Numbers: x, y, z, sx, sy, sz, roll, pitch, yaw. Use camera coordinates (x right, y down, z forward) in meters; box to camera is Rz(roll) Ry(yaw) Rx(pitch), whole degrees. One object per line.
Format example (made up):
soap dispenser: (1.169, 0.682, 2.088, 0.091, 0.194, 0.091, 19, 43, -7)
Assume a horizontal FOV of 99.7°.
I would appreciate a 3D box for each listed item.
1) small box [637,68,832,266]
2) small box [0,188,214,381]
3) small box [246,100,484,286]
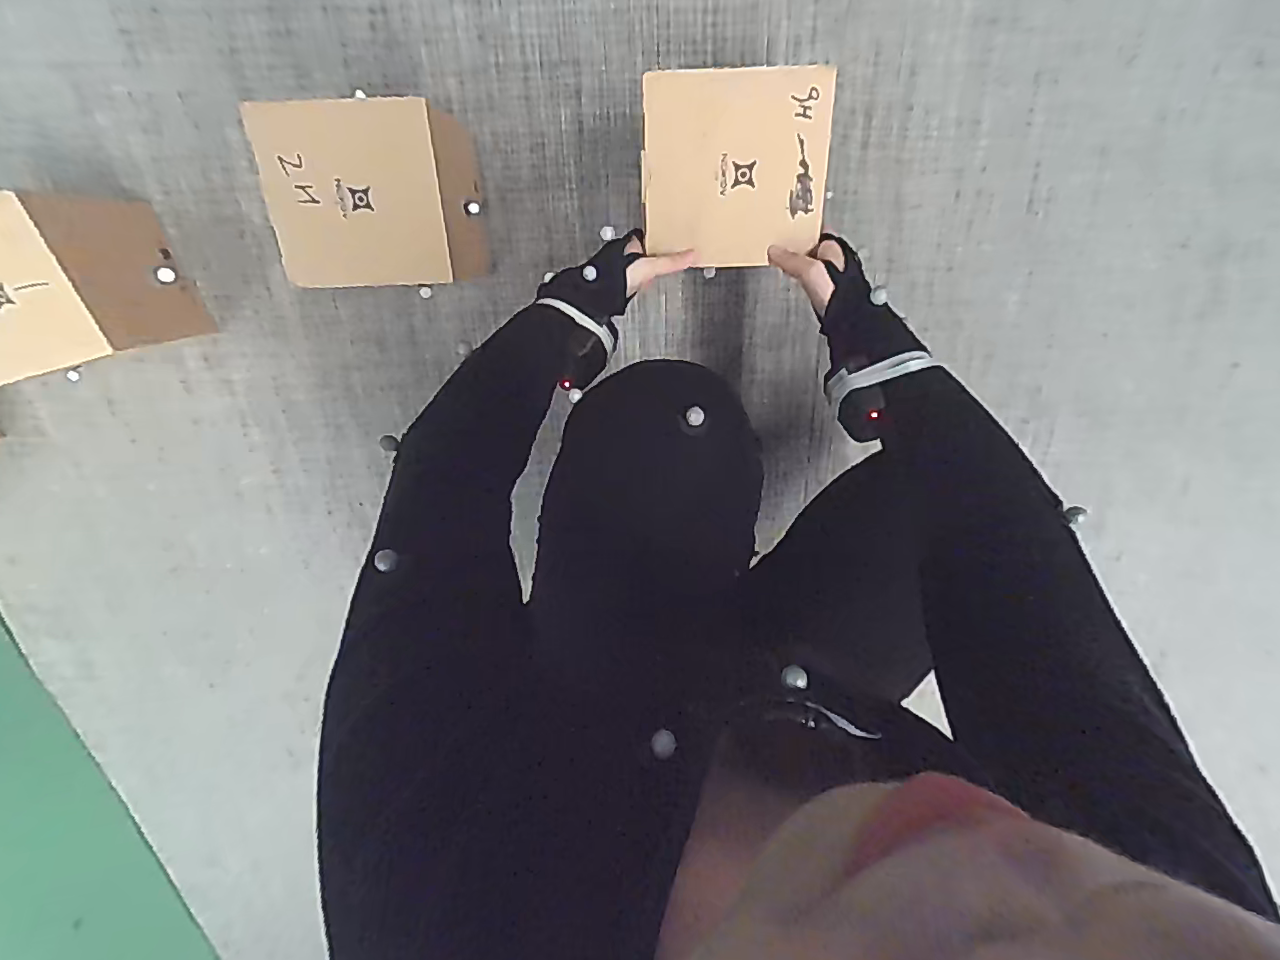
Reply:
small box: (0.089, -0.323, 0.589, 0.179, 0.176, 0.168, 0, 113, 2)
small box: (-0.671, -0.223, 0.637, 0.179, 0.176, 0.168, -14, 112, 4)
small box: (-0.283, -0.311, 0.610, 0.179, 0.176, 0.168, -2, 112, -1)
